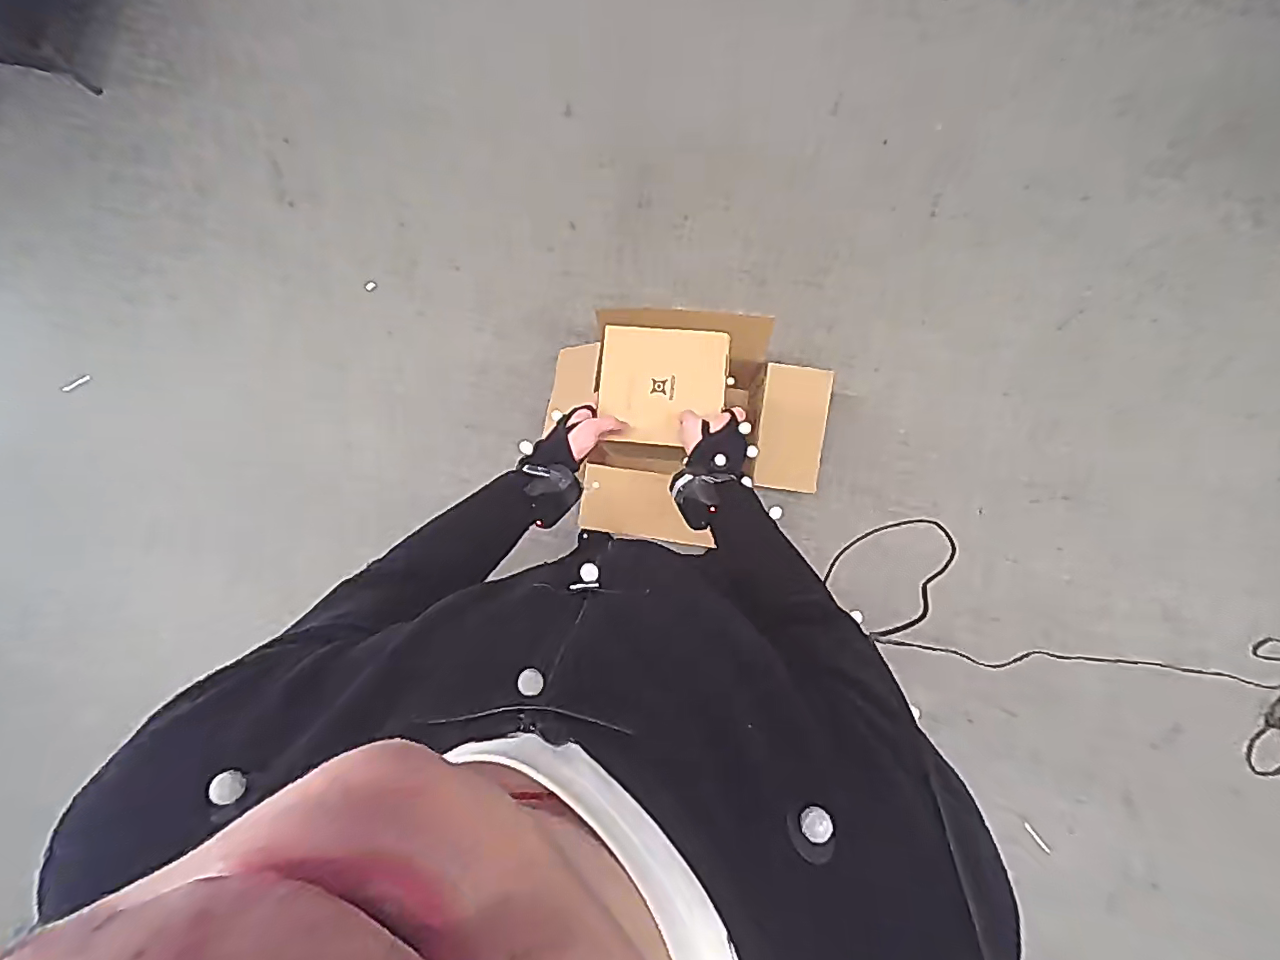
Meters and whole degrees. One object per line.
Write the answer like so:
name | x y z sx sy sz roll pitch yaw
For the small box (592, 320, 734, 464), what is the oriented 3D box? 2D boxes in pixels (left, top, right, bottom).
small box | 0.038 -0.122 0.810 0.179 0.176 0.168 7 83 6
